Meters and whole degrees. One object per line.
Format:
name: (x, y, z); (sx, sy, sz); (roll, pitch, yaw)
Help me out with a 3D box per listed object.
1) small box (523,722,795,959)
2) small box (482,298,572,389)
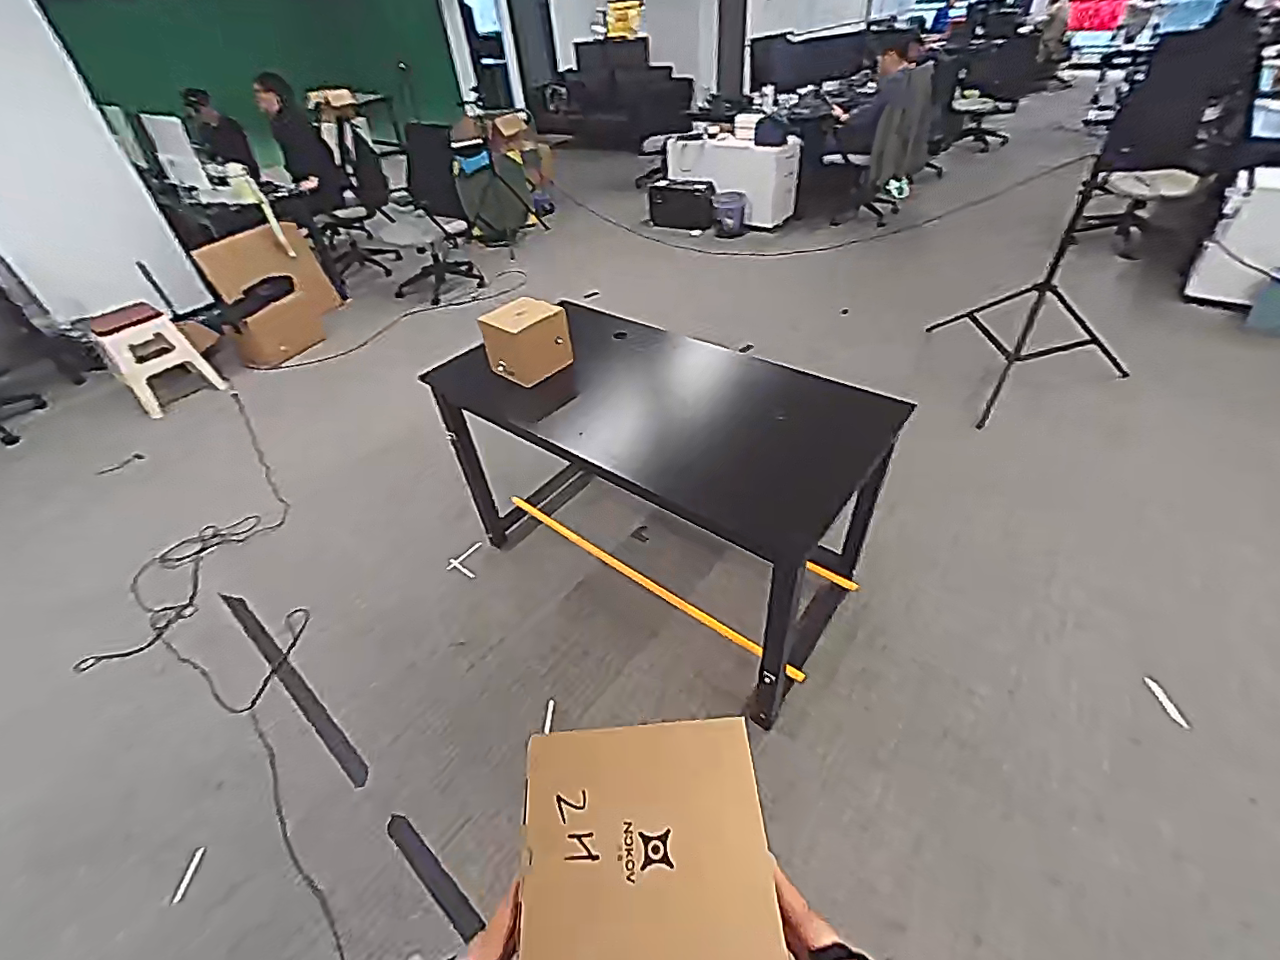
small box: (0.010, 0.312, 0.441); (0.179, 0.176, 0.168); (-5, 50, 0)
small box: (-0.308, -0.383, 1.513); (0.168, 0.176, 0.179); (26, 51, 32)
